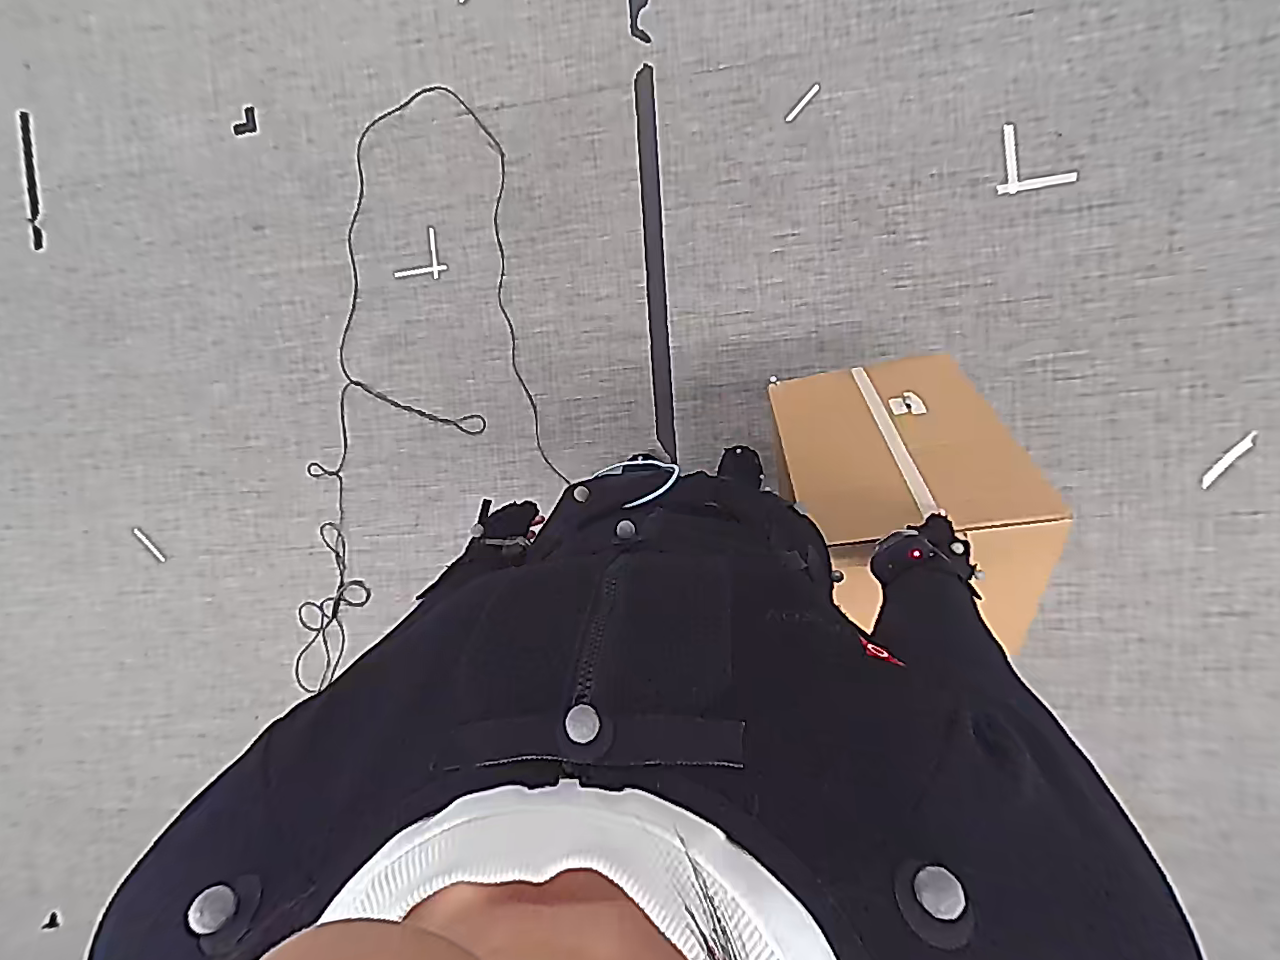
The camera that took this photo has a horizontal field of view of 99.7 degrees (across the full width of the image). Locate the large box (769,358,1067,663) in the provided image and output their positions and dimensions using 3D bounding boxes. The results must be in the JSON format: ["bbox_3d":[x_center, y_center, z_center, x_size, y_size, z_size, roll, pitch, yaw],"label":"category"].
[{"bbox_3d":[0.419,0.046,0.930,0.320,0.408,0.320,-8,130,9],"label":"large box"}]
